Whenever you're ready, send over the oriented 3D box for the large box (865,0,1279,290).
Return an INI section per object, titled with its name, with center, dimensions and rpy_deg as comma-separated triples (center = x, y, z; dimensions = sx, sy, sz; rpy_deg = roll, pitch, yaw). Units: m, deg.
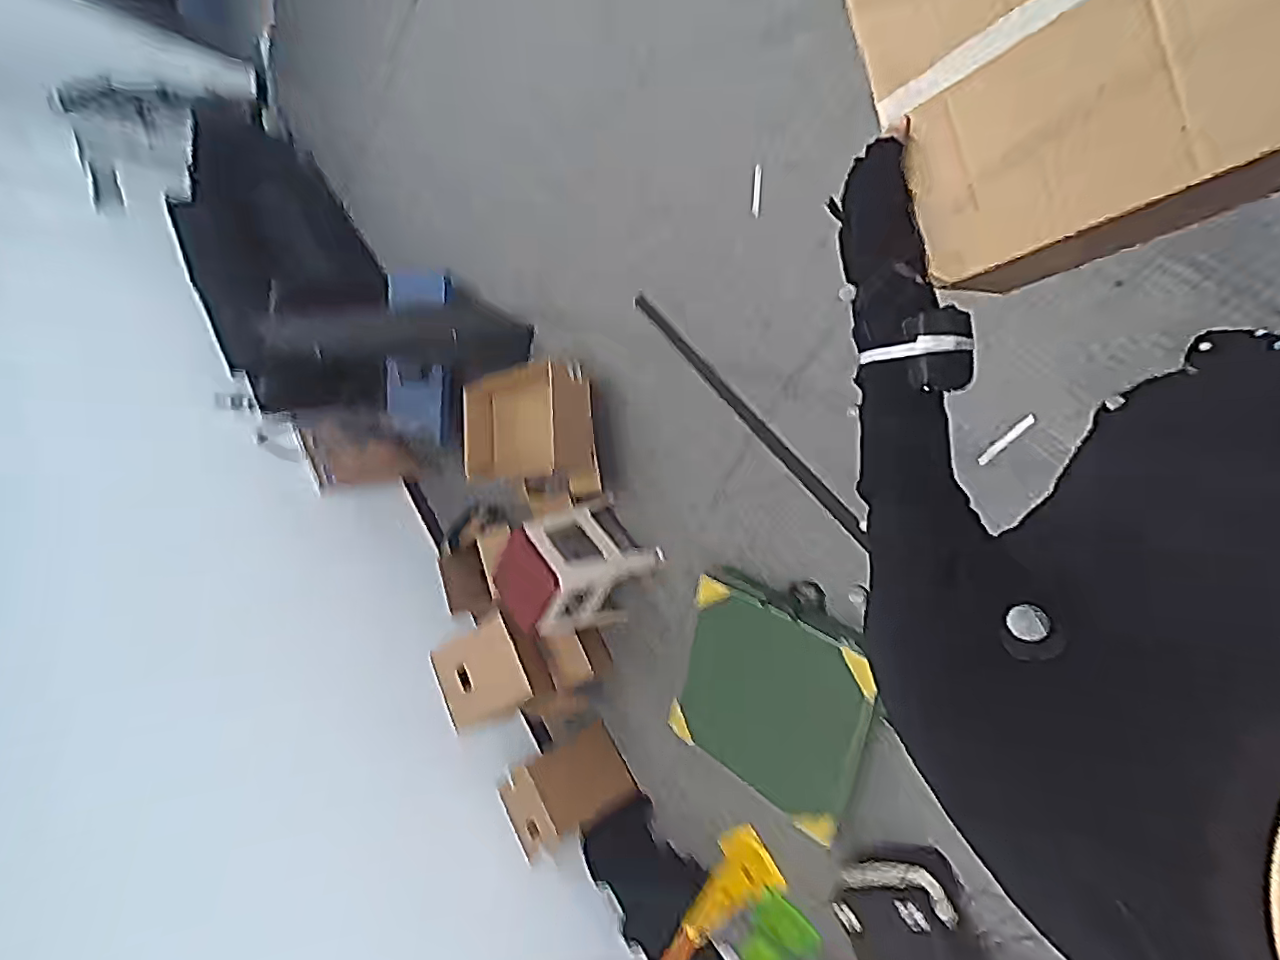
[large box]
center = 0.460, -0.390, 0.443
dimensions = 0.408, 0.320, 0.320
rpy_deg = -15, 94, 44
